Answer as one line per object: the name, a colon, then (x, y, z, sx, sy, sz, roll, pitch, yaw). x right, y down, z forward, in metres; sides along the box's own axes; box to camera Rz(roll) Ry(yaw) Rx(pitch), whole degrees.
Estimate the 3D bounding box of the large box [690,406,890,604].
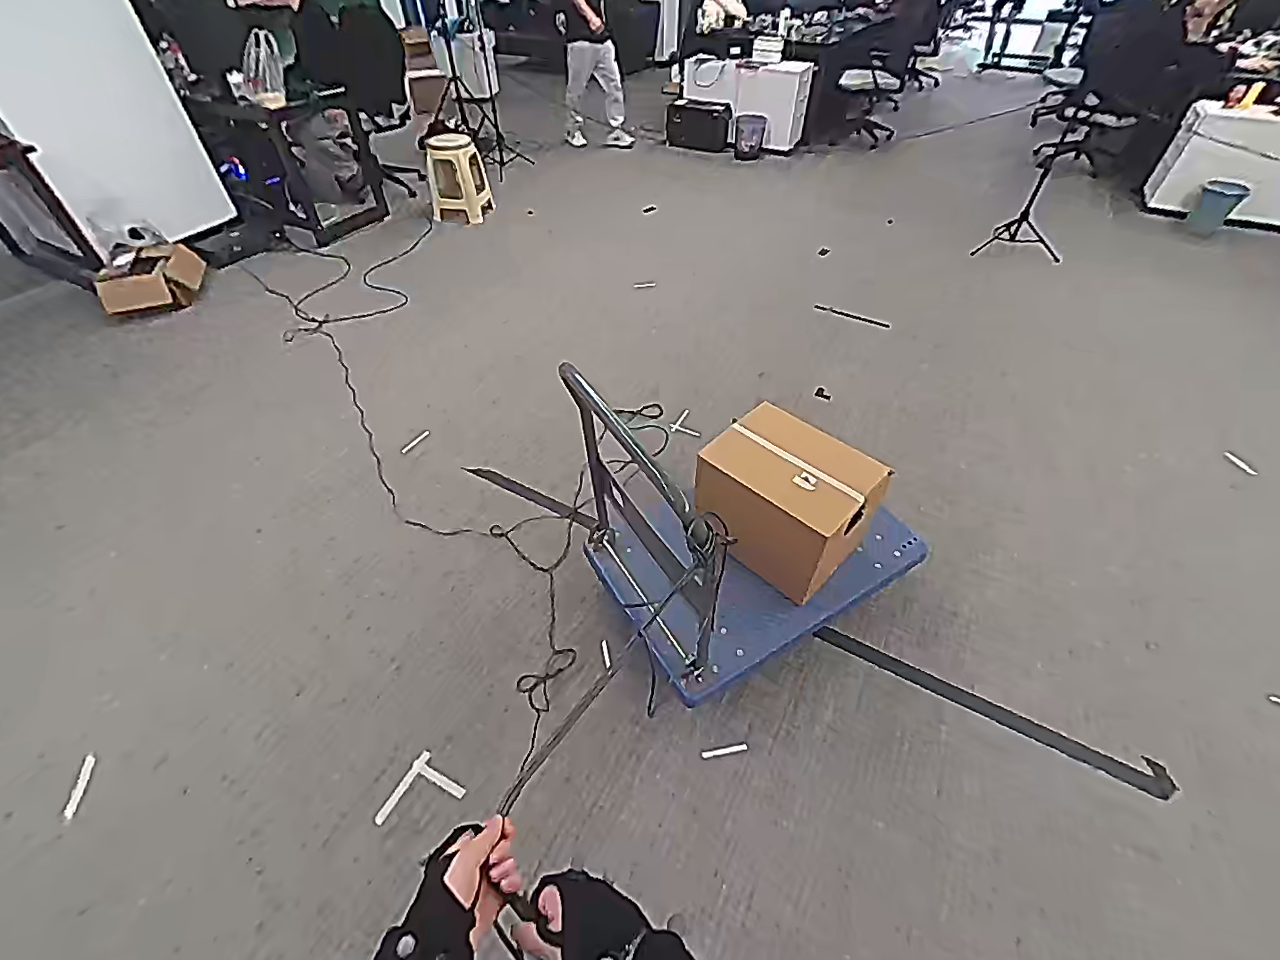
large box: (0.396, 0.063, 1.517, 0.408, 0.320, 0.320, 36, 57, 29)
